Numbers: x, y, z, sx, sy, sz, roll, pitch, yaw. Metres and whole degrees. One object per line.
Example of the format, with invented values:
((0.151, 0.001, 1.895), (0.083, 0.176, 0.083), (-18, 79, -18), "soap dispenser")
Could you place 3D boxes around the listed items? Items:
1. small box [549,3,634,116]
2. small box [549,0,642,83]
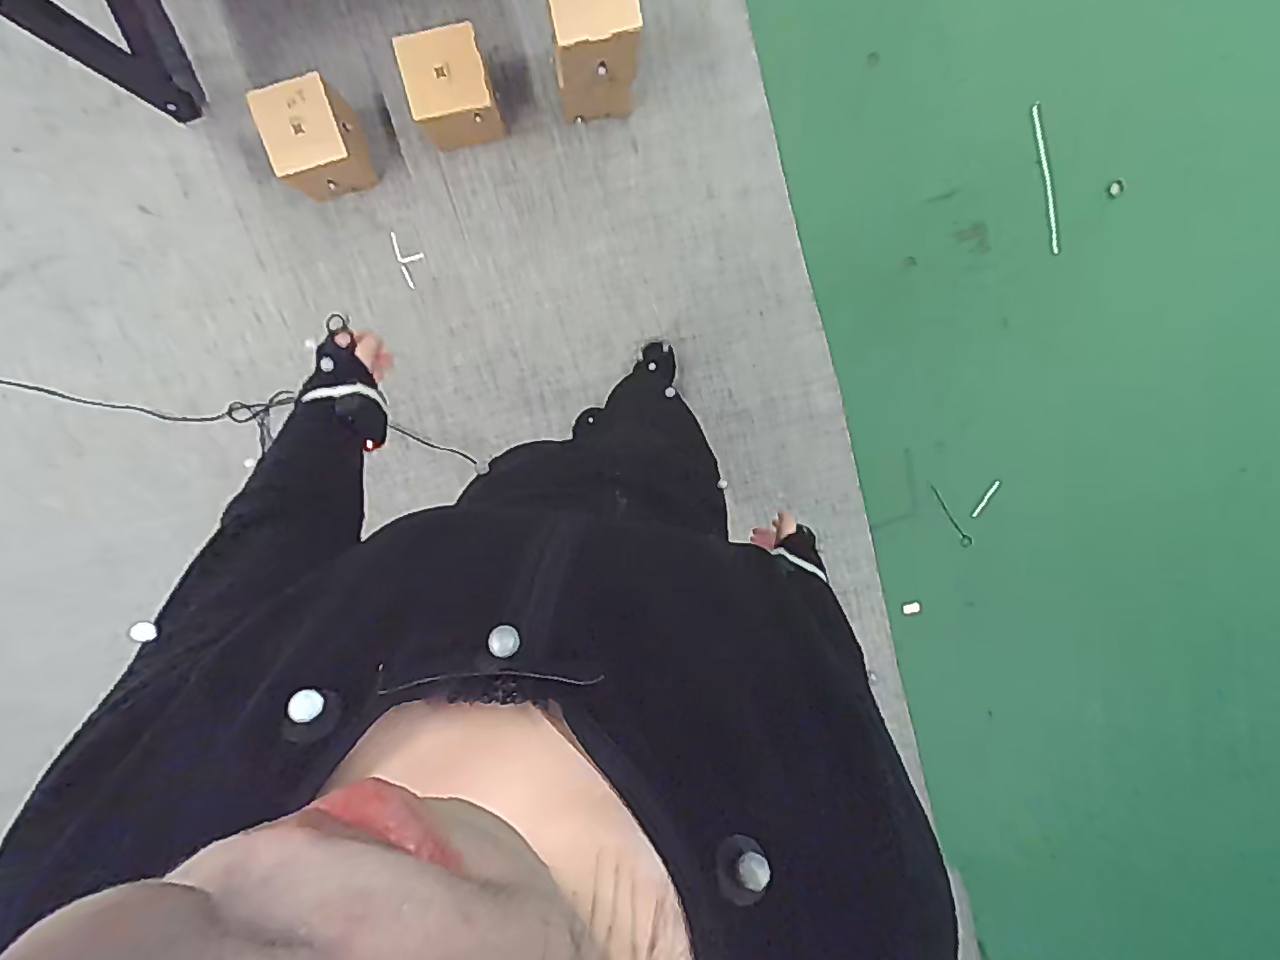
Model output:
((-0.104, -0.965, 1.237), (0.168, 0.176, 0.179), (-8, 100, -1), "small box")
((-0.092, -0.930, 1.076), (0.168, 0.176, 0.179), (-12, 102, 0), "small box")
